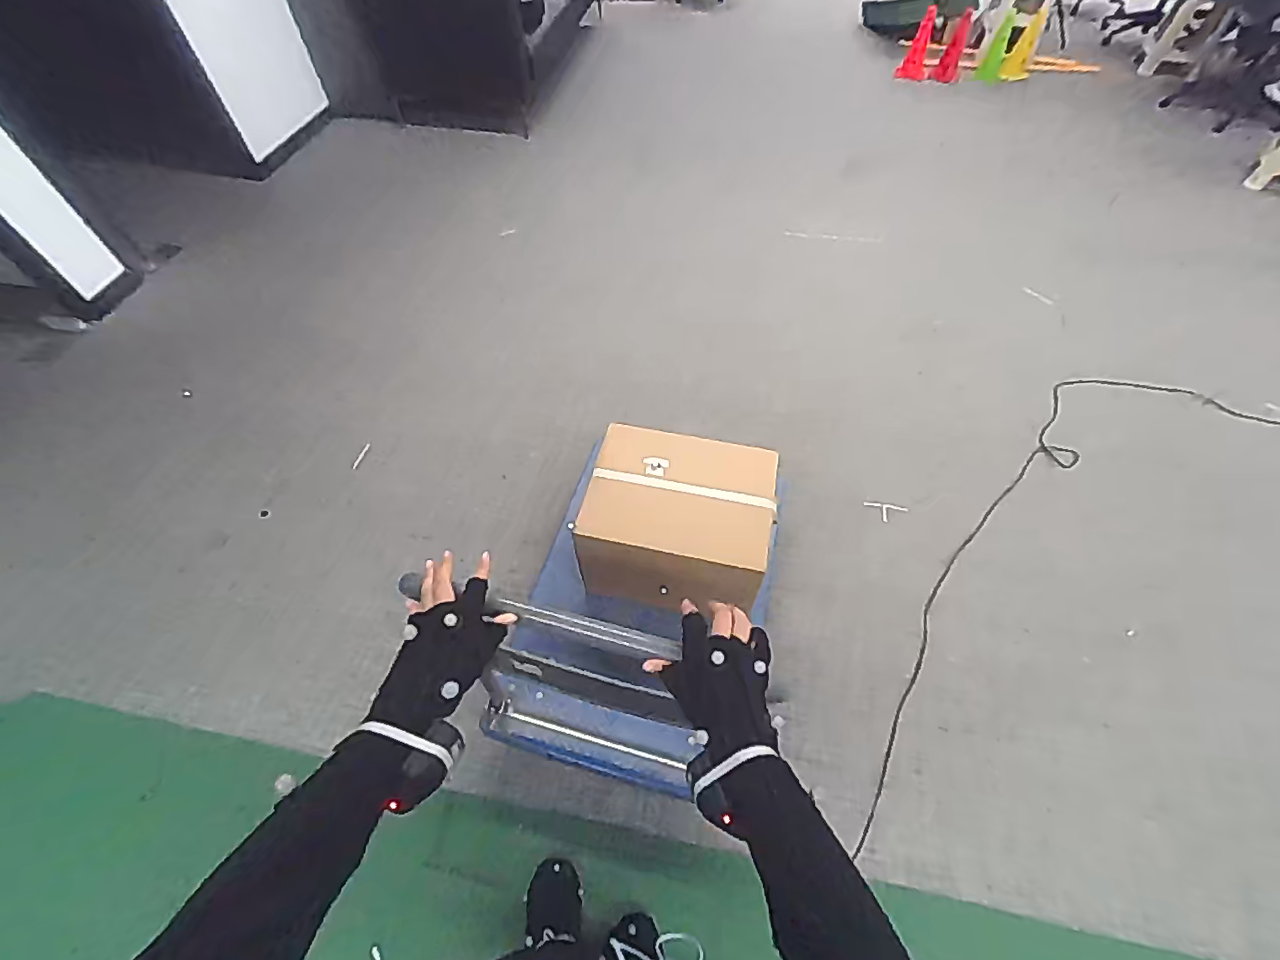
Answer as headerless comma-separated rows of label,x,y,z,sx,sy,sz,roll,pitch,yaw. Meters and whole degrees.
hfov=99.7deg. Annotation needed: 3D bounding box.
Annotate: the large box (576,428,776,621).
large box,0.095,0.113,1.312,0.408,0.320,0.320,10,54,9
